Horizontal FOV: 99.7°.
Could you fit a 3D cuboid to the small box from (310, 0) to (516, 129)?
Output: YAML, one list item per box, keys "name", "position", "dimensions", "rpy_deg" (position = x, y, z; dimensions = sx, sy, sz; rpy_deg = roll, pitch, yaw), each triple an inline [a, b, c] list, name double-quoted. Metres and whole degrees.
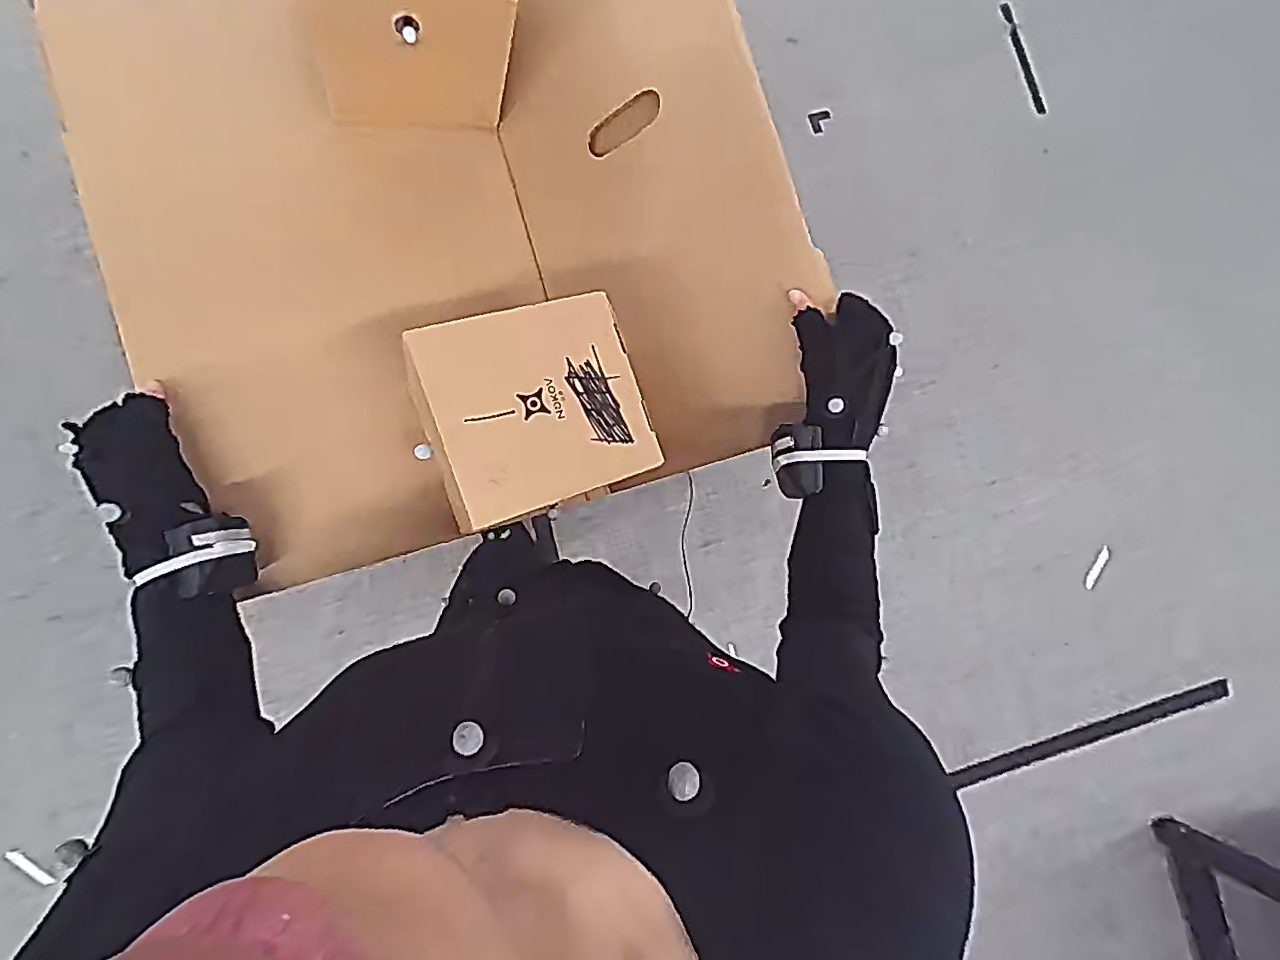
- name: "small box"
  position: [-0.234, -0.486, 0.537]
  dimensions: [0.179, 0.176, 0.168]
  rpy_deg: [-12, 87, -23]
